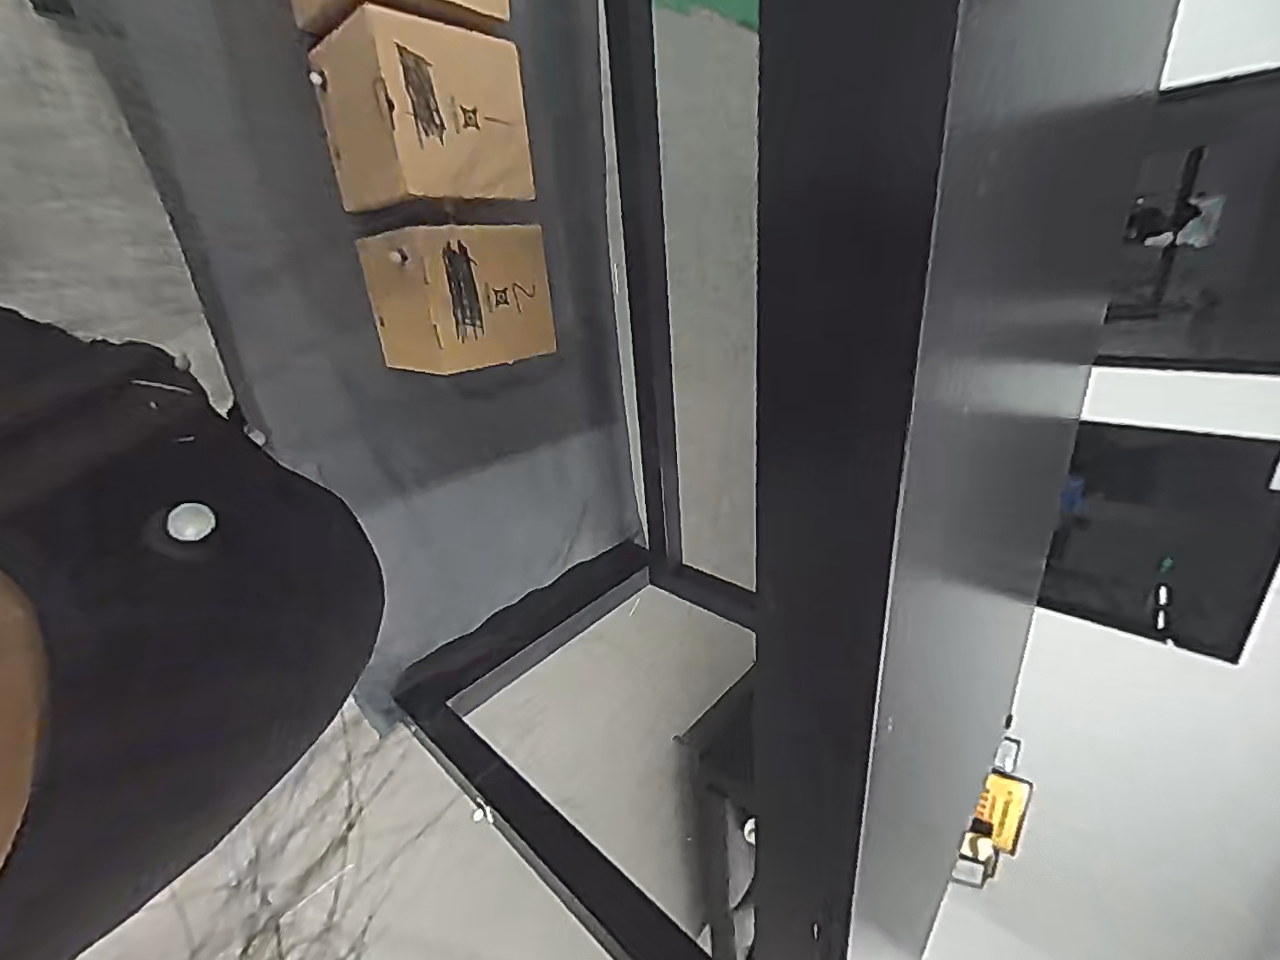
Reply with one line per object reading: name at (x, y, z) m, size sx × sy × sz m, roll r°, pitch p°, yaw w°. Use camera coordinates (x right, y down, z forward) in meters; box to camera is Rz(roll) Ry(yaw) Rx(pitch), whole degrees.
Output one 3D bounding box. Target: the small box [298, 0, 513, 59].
small box at (-0.263, -0.585, 0.578) m, size 0.179 × 0.176 × 0.168 m, roll -23°, pitch 120°, yaw -43°
